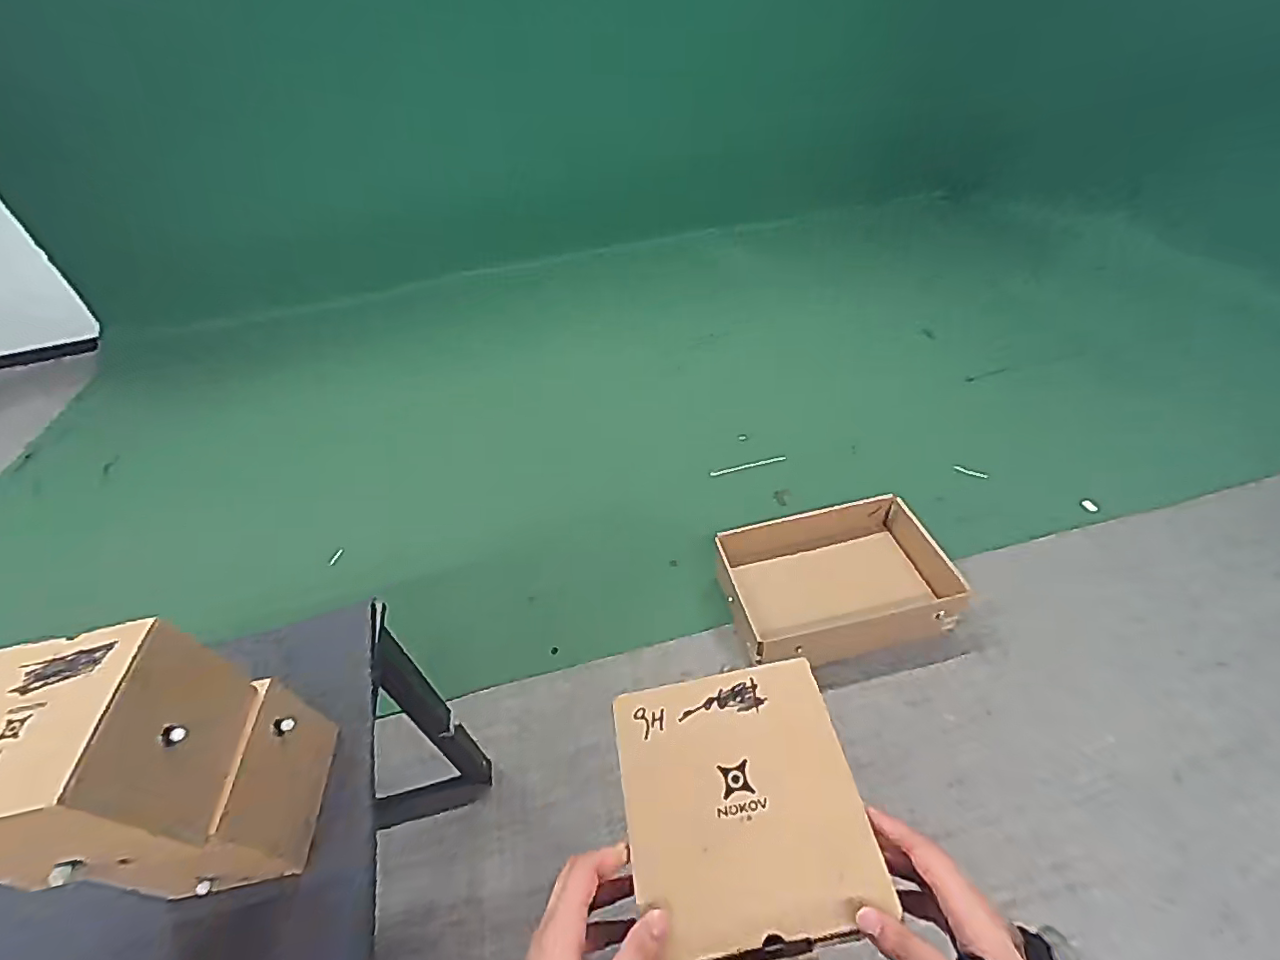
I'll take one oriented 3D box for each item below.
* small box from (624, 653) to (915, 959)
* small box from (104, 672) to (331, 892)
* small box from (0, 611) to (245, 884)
[{"bbox_3d":[0.089,0.270,0.443,0.168,0.176,0.179,-12,49,-1],"label":"small box"},{"bbox_3d":[-0.507,0.363,0.652,0.168,0.176,0.179,-11,45,-2],"label":"small box"},{"bbox_3d":[-0.533,0.259,0.526,0.168,0.176,0.179,-12,46,-3],"label":"small box"}]
